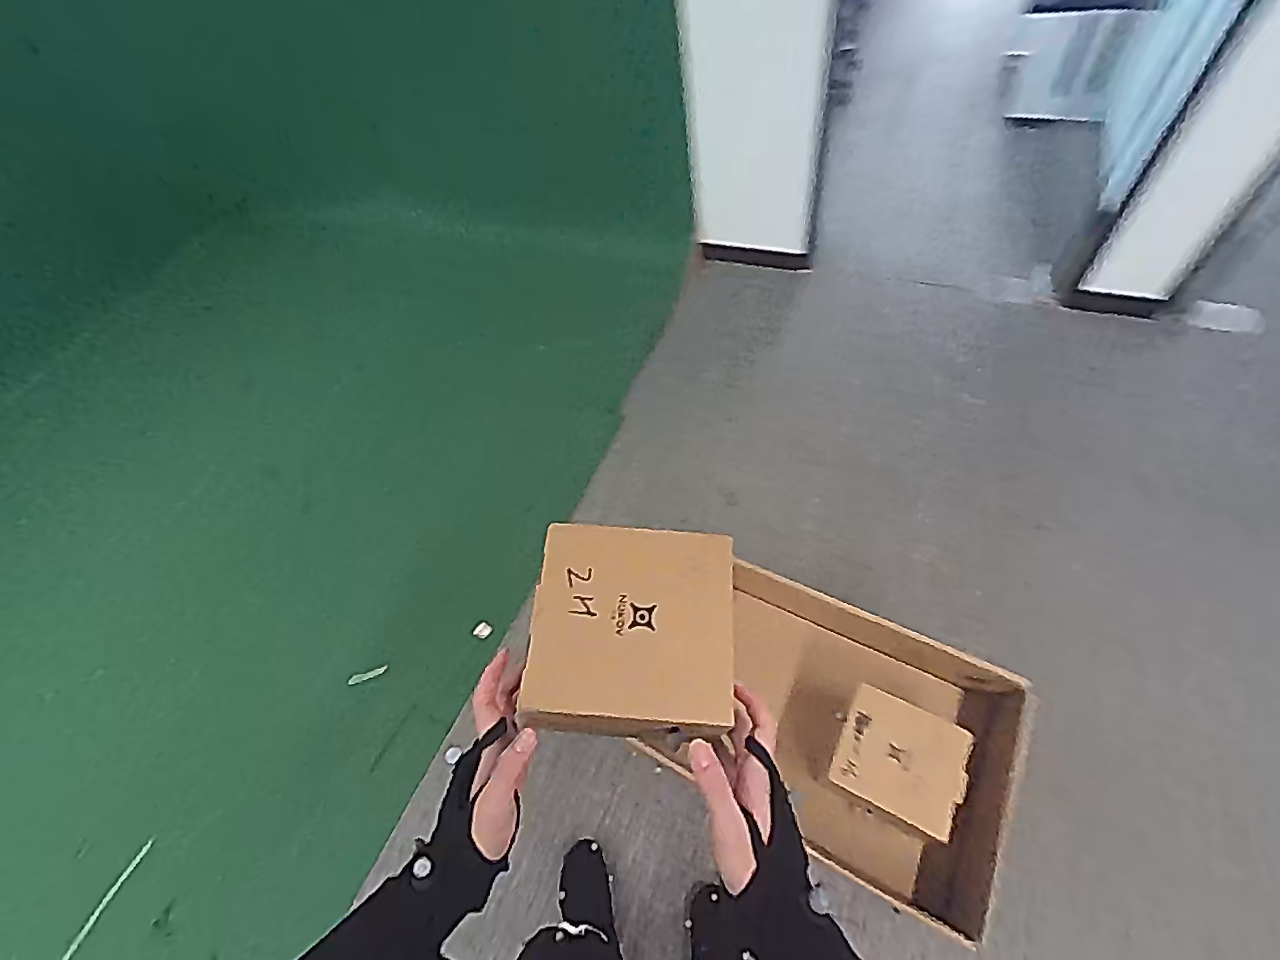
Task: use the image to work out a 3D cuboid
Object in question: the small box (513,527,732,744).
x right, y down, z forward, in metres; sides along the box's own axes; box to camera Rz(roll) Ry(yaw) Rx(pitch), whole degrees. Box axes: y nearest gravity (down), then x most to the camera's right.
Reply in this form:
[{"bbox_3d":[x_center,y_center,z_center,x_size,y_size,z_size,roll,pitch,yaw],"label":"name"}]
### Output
[{"bbox_3d":[-0.011,0.160,0.534,0.179,0.176,0.168,3,59,1],"label":"small box"}]
